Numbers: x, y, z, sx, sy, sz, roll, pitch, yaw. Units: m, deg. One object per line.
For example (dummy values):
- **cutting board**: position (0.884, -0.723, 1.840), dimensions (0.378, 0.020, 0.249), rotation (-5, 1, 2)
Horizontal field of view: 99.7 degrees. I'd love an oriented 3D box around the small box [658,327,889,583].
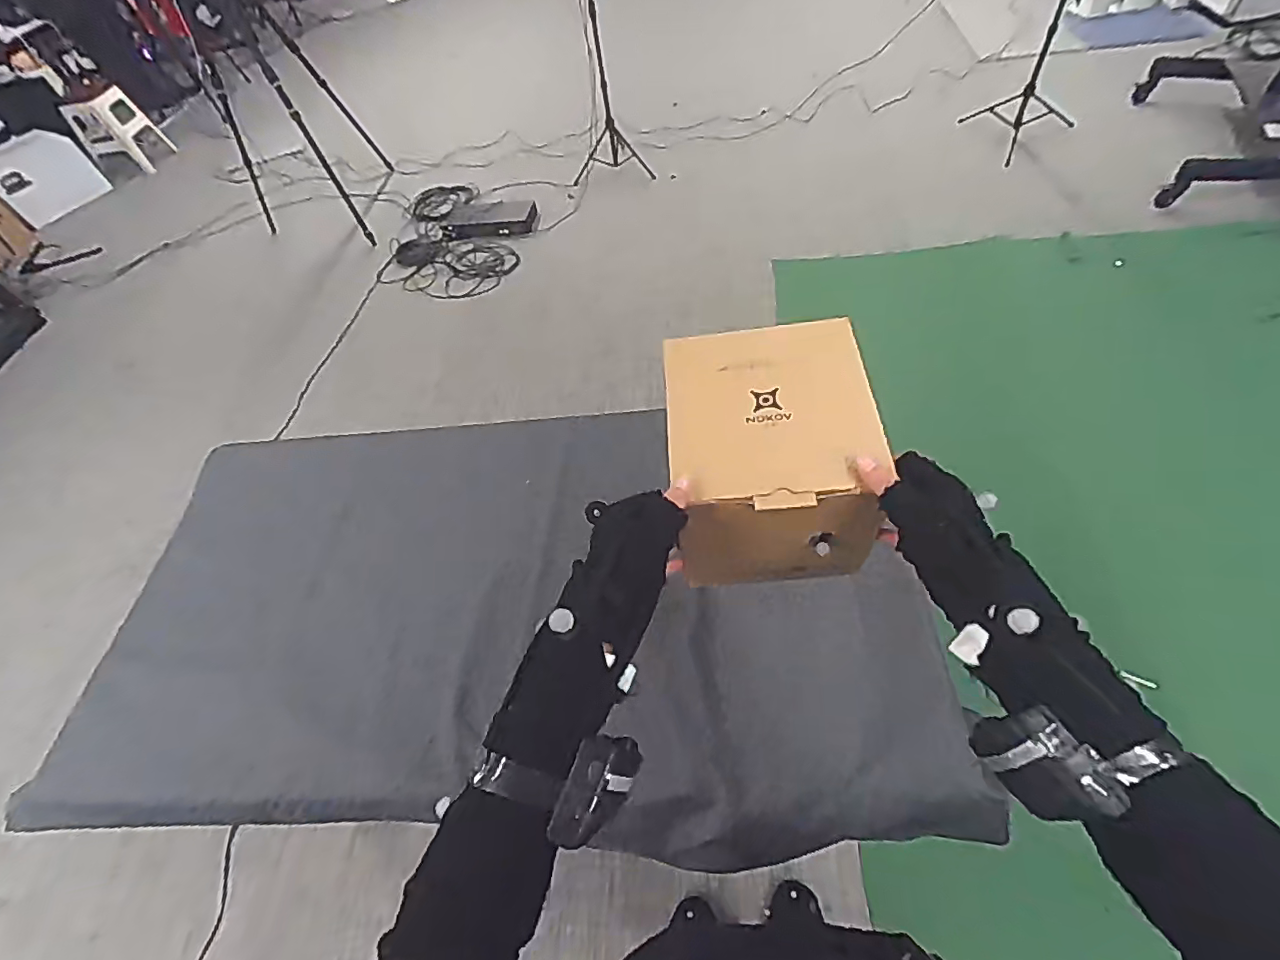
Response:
- **small box**: position (0.109, -0.012, 0.505), dimensions (0.168, 0.176, 0.179), rotation (-5, 56, 5)
